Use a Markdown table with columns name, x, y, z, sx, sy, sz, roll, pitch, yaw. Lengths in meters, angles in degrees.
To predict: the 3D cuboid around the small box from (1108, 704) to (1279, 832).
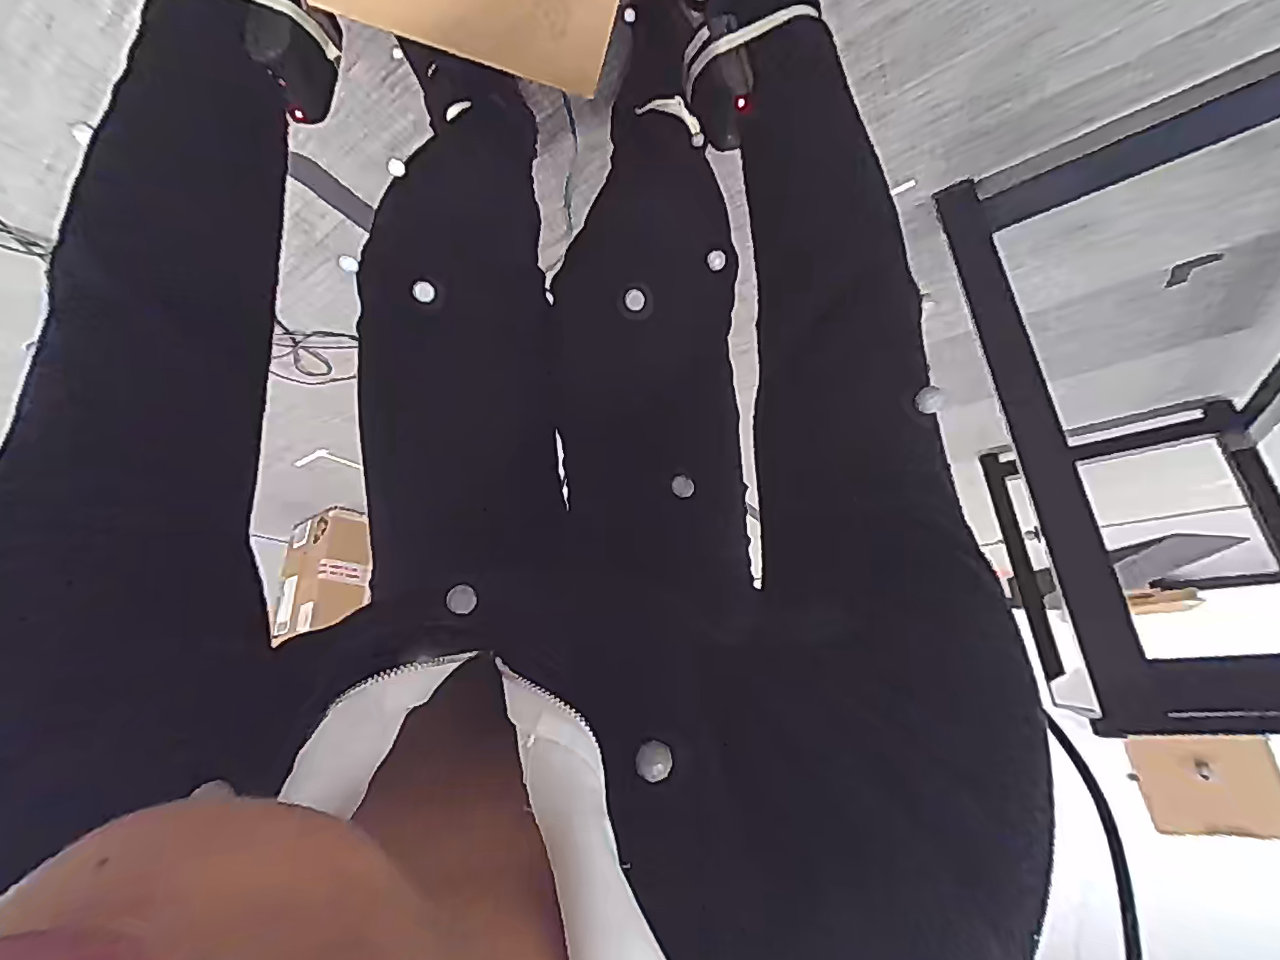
| name | x | y | z | sx | sy | sz | roll | pitch | yaw |
| --- | --- | --- | --- | --- | --- | --- | --- | --- | --- |
| small box | 0.908 | 0.466 | 0.892 | 0.168 | 0.176 | 0.179 | -18 | 151 | 33 |
